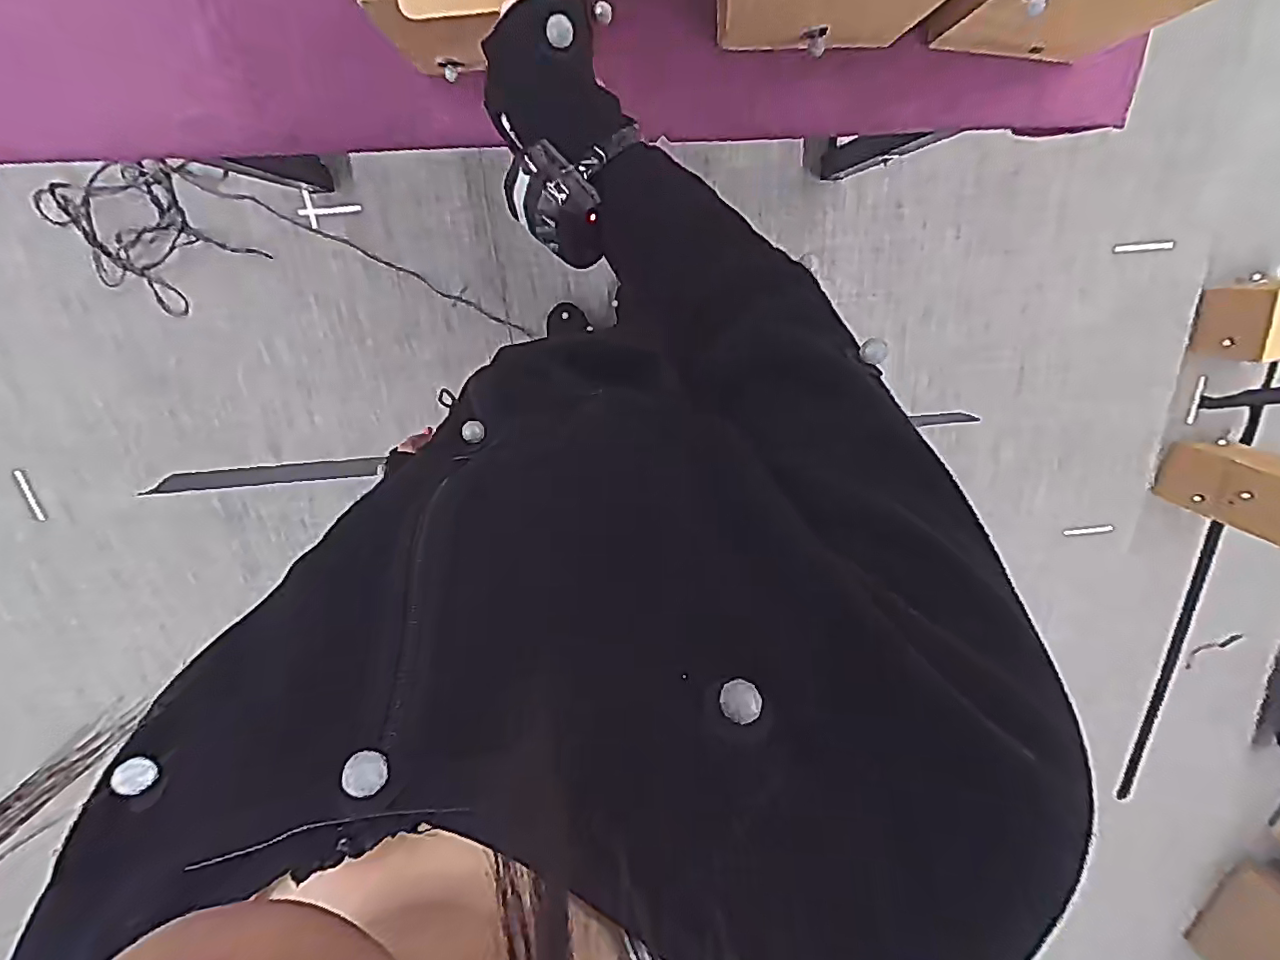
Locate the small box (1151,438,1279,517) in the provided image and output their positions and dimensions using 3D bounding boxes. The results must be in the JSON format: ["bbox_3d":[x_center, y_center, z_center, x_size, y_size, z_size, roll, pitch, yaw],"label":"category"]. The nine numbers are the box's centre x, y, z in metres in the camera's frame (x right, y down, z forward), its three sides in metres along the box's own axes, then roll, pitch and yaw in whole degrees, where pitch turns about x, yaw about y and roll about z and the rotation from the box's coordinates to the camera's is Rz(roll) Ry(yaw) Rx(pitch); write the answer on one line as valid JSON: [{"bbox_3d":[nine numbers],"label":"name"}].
[{"bbox_3d":[1.610,-0.010,1.523,0.168,0.176,0.179,-2,112,-5],"label":"small box"}]

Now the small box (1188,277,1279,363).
[{"bbox_3d":[1.551,-0.407,1.362,0.168,0.176,0.179,-11,111,-1],"label":"small box"}]

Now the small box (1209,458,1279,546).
[{"bbox_3d":[1.635,0.049,1.374,0.179,0.176,0.168,-5,113,-2],"label":"small box"}]

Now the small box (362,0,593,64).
[{"bbox_3d":[-0.127,-0.450,0.417,0.168,0.176,0.179,-7,111,-2],"label":"small box"}]
